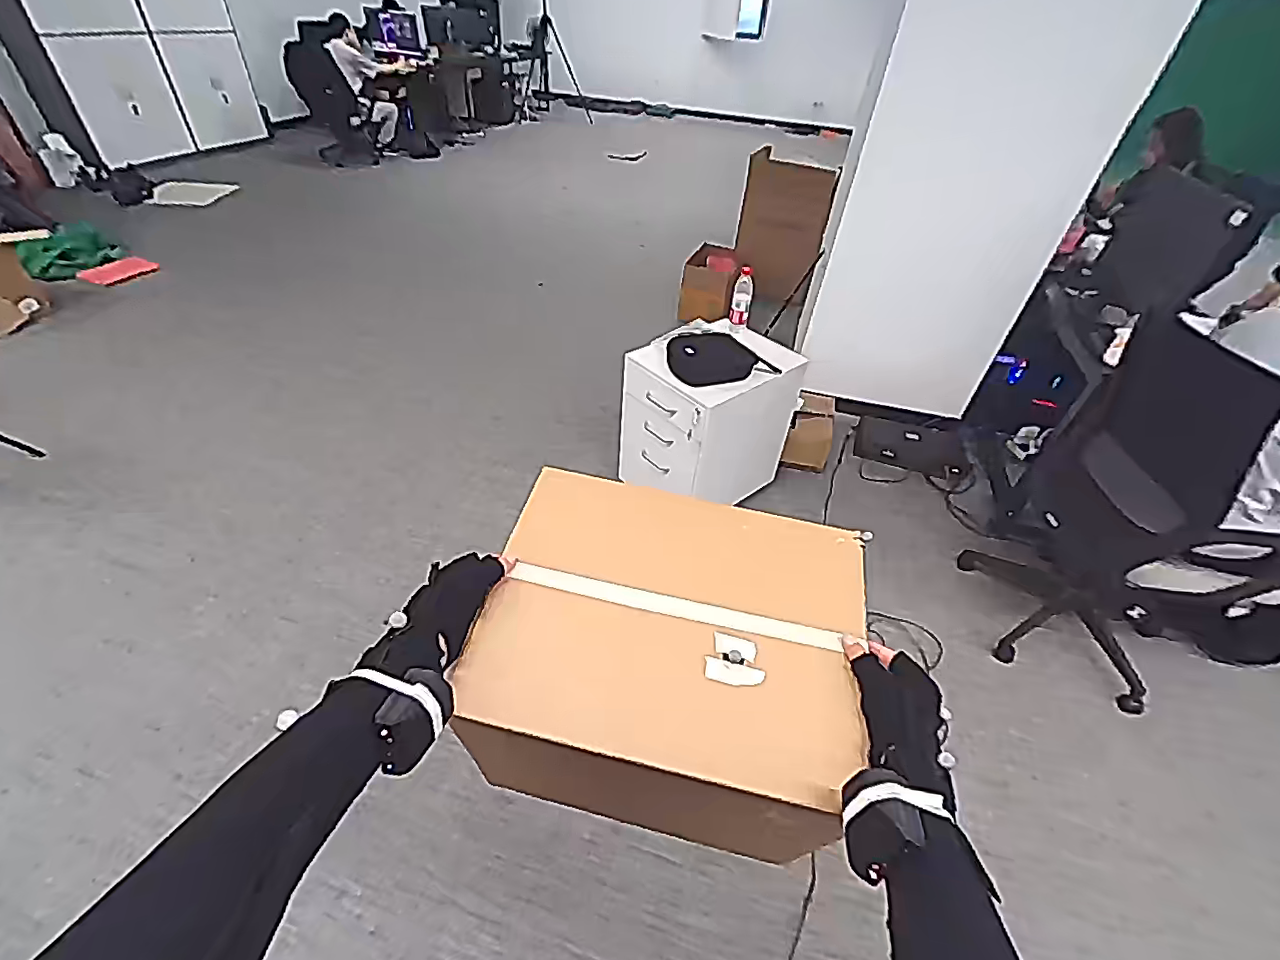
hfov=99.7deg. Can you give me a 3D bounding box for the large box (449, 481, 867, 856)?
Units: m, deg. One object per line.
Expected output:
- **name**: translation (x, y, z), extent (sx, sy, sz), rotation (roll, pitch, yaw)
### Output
- **large box**: translation (0.027, 0.245, 0.706), extent (0.408, 0.320, 0.320), rotation (12, 50, 5)
